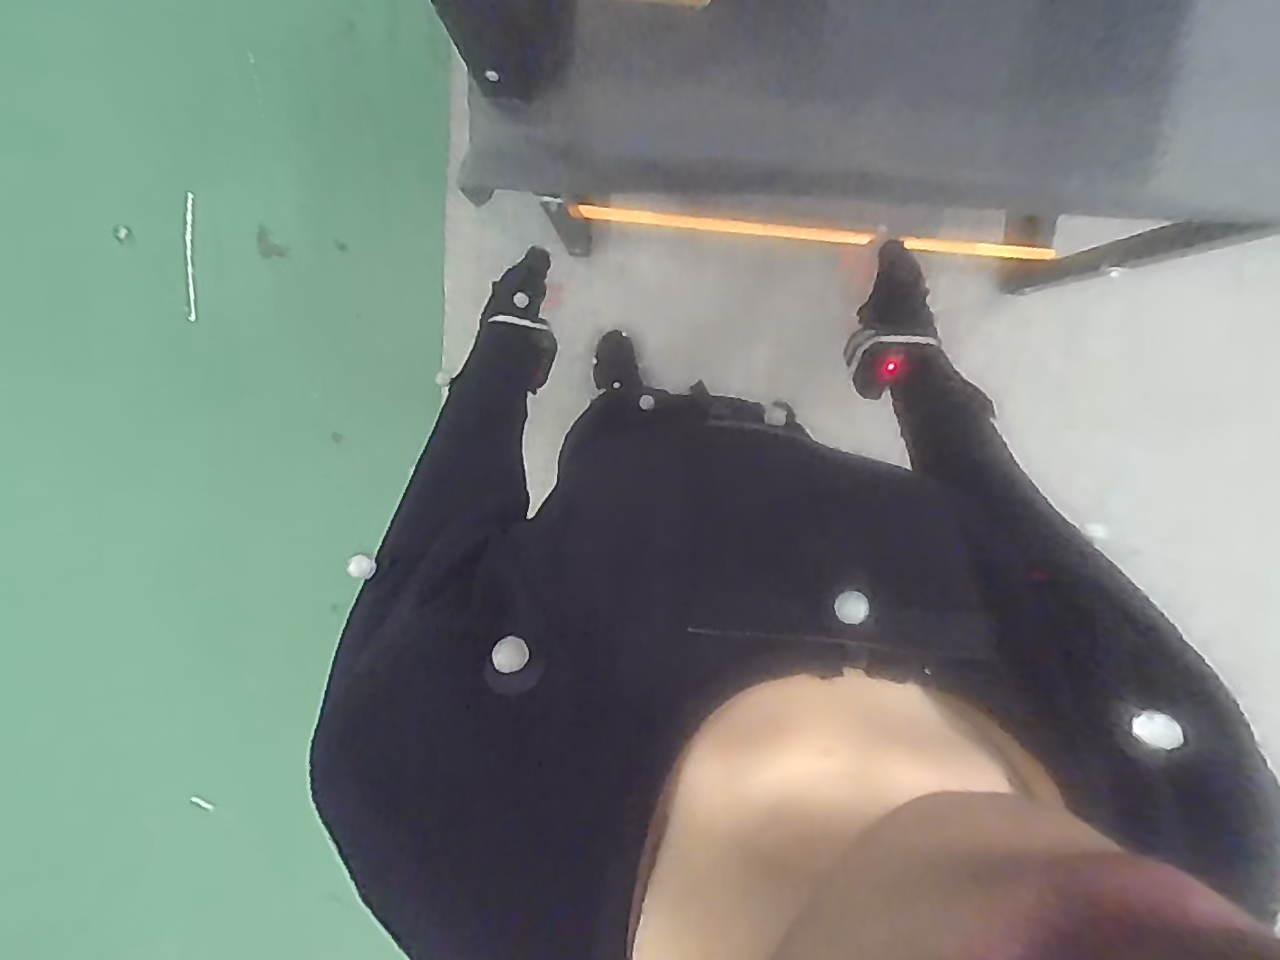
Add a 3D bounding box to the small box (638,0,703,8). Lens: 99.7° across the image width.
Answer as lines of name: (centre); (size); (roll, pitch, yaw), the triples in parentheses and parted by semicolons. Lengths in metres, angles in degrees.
small box: (0.007, -0.647, 0.555); (0.168, 0.176, 0.179); (5, 100, -1)
